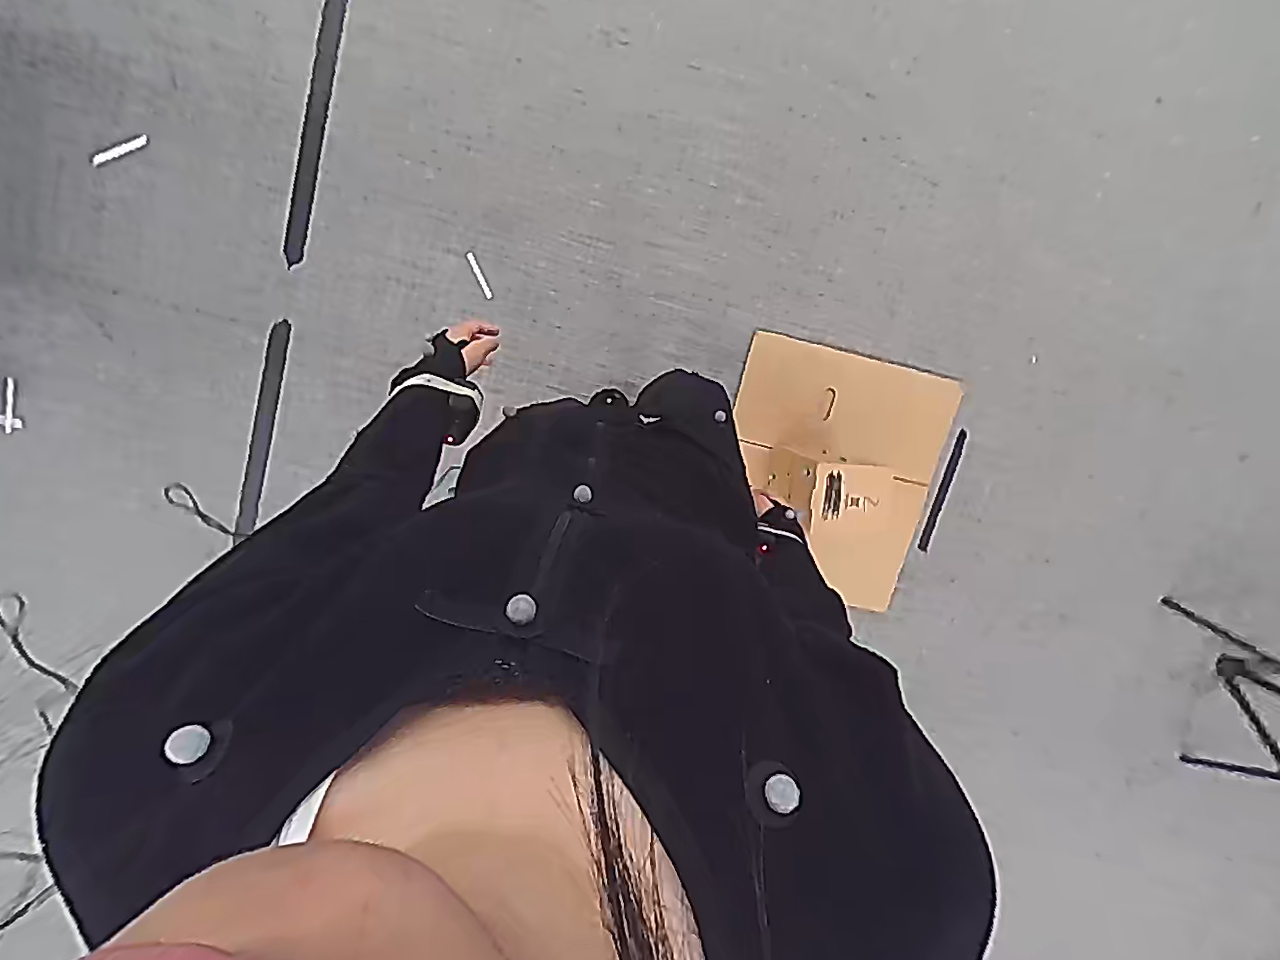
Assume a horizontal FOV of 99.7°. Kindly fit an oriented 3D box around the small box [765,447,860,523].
[{"bbox_3d":[0.447,0.006,1.423,0.179,0.176,0.168,5,99,-4],"label":"small box"}]

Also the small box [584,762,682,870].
[{"bbox_3d":[-0.016,0.805,1.255,0.168,0.176,0.179,-25,101,2],"label":"small box"}]

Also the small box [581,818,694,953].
[{"bbox_3d":[-0.007,0.840,1.095,0.168,0.176,0.179,-25,102,2],"label":"small box"}]

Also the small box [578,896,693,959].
[{"bbox_3d":[-0.003,0.871,0.935,0.168,0.176,0.179,-25,102,2],"label":"small box"}]
